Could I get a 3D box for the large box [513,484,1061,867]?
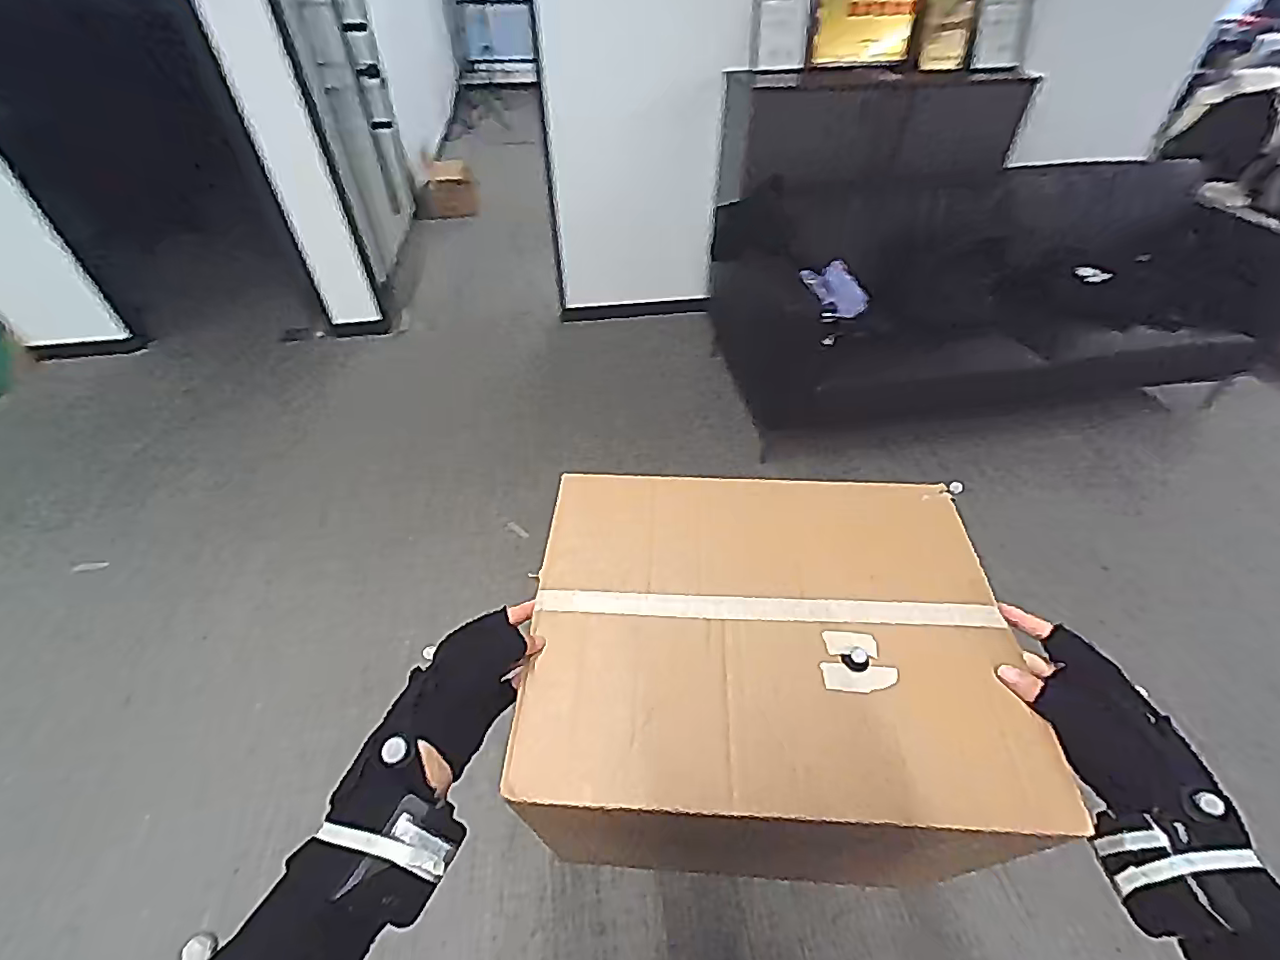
[{"bbox_3d":[0.108,0.218,0.597,0.408,0.320,0.320,0,49,2],"label":"large box"}]
